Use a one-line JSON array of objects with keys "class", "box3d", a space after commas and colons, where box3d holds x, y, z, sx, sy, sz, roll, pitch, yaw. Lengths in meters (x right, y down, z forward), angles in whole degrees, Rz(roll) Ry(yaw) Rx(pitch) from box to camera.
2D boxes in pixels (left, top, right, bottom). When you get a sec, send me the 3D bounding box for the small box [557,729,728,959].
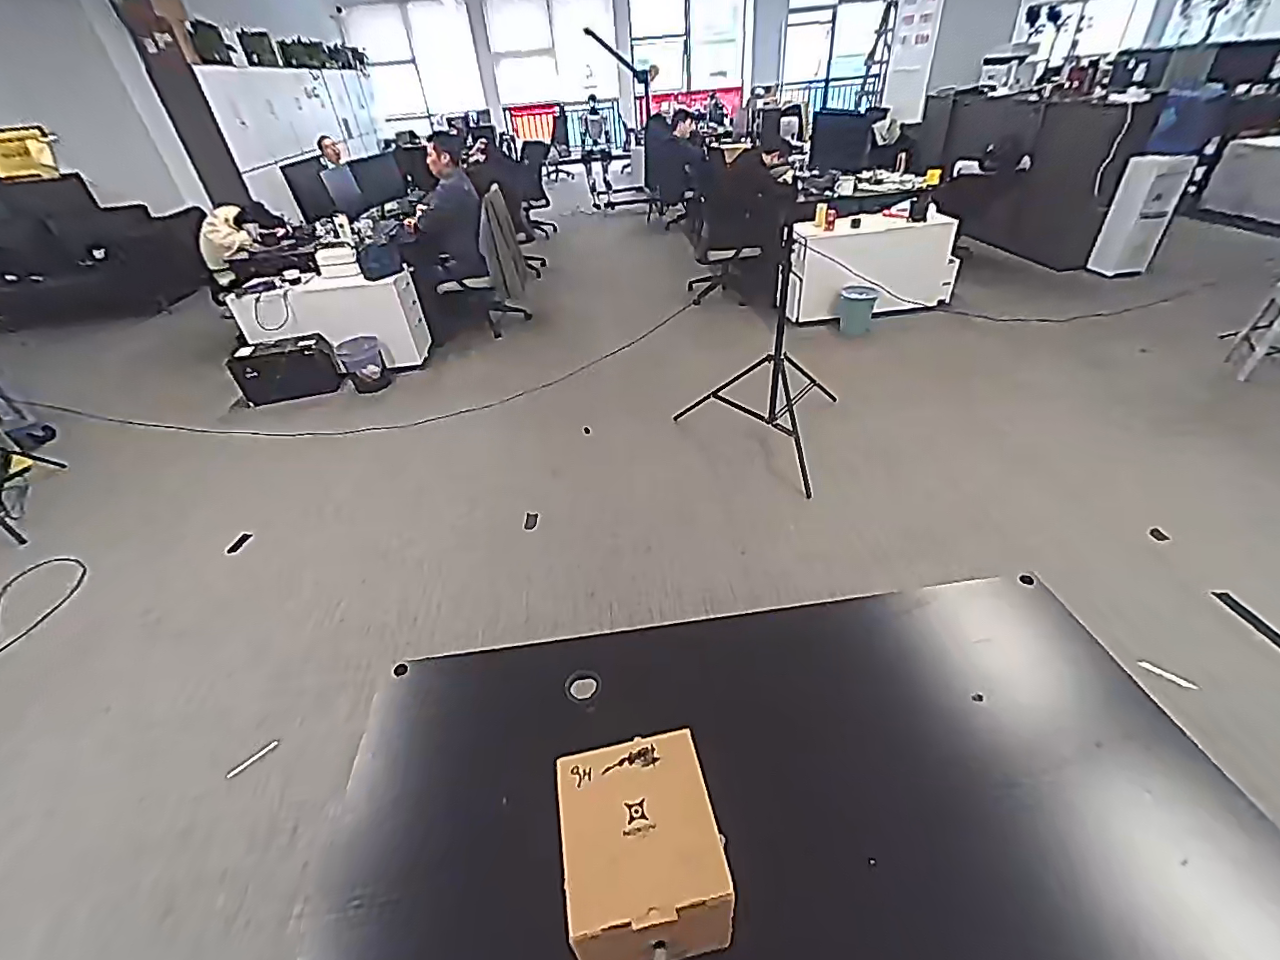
[{"class": "small box", "box3d": [0.002, 0.434, 0.639, 0.168, 0.176, 0.179, -10, 37, -6]}]
